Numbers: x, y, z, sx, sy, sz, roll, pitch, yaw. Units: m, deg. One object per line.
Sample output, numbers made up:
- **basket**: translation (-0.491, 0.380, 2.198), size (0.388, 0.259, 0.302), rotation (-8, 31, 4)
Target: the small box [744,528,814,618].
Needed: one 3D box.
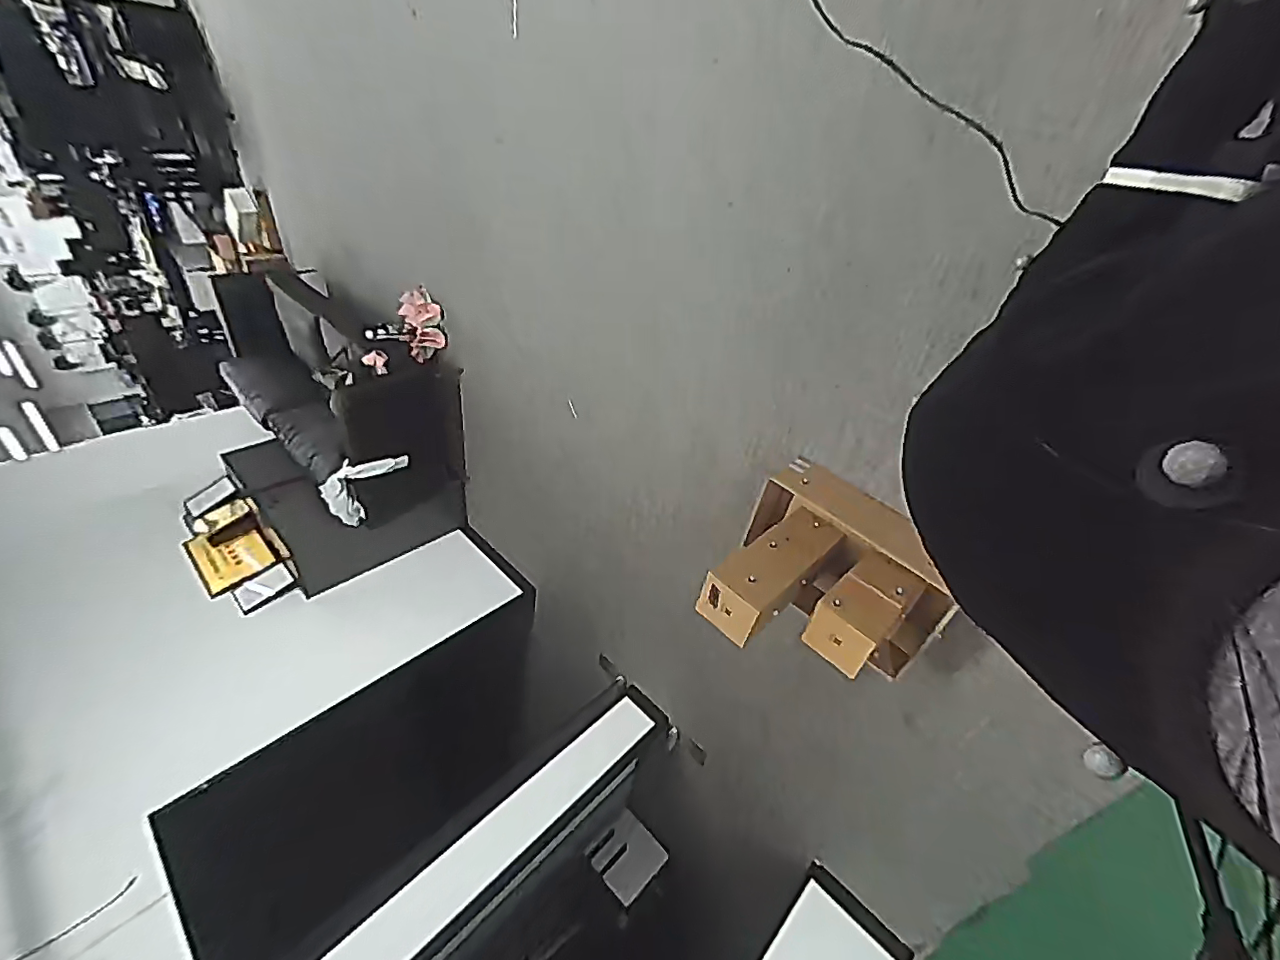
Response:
- **small box**: translation (0.400, 0.274, 1.633), size (0.168, 0.176, 0.179), rotation (38, 134, 28)

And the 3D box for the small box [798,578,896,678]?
- **small box**: translation (0.579, 0.405, 1.508), size (0.179, 0.176, 0.168), rotation (37, 133, 32)

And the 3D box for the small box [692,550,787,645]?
- **small box**: translation (0.283, 0.322, 1.532), size (0.179, 0.176, 0.168), rotation (36, 132, 24)
